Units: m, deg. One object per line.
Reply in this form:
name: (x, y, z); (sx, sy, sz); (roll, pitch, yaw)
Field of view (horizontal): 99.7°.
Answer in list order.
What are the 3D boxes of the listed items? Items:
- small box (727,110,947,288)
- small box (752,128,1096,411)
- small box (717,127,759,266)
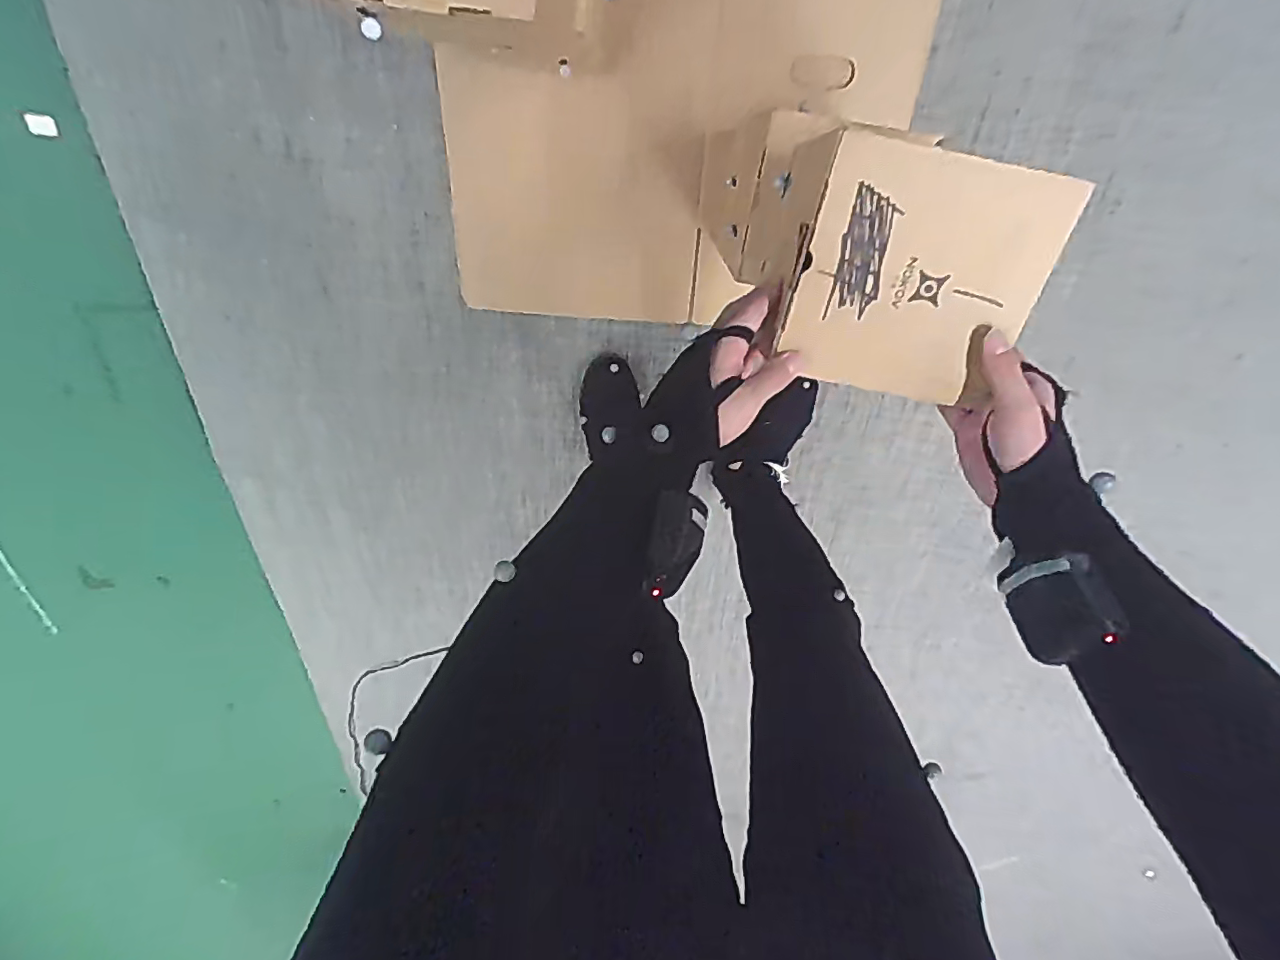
small box: (0.206, -0.314, 0.631); (0.179, 0.176, 0.168); (8, 122, -2)
small box: (0.205, -0.177, 0.458); (0.179, 0.176, 0.168); (11, 119, -3)
small box: (0.214, -0.396, 0.772); (0.179, 0.176, 0.168); (6, 121, -1)
